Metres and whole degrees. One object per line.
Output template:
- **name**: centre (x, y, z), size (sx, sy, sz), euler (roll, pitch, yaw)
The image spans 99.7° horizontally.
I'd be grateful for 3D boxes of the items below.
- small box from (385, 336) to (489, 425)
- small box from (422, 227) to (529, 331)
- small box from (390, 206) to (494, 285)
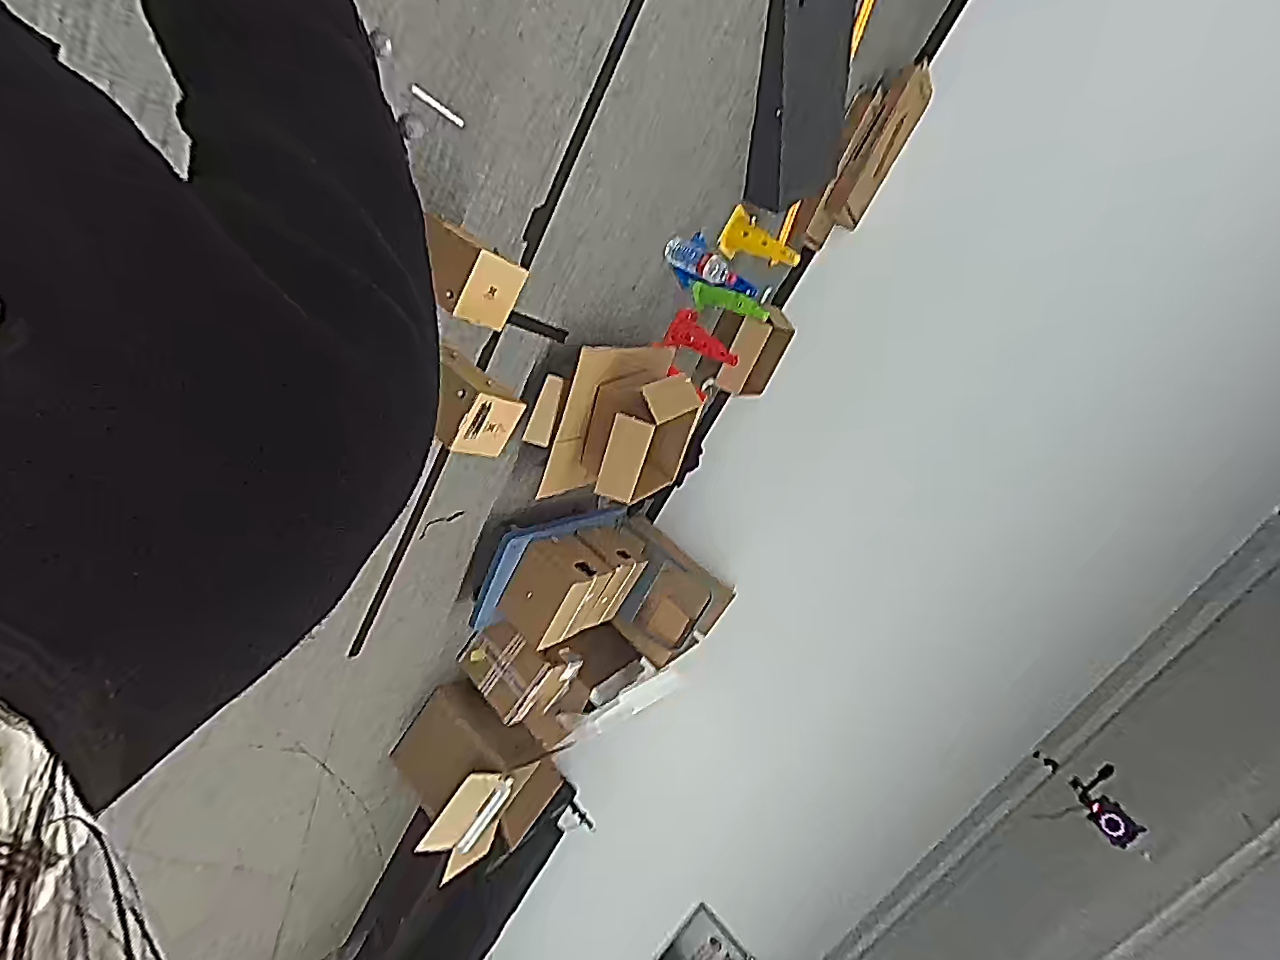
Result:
- **small box**: centre (-0.557, -0.272, 1.476), size (0.168, 0.176, 0.179), euler (-58, 155, 14)
- **small box**: centre (-0.425, -0.514, 1.382), size (0.168, 0.176, 0.179), euler (0, 126, -60)
- **small box**: centre (-0.535, -0.608, 1.455), size (0.179, 0.176, 0.168), euler (-3, 128, -60)
